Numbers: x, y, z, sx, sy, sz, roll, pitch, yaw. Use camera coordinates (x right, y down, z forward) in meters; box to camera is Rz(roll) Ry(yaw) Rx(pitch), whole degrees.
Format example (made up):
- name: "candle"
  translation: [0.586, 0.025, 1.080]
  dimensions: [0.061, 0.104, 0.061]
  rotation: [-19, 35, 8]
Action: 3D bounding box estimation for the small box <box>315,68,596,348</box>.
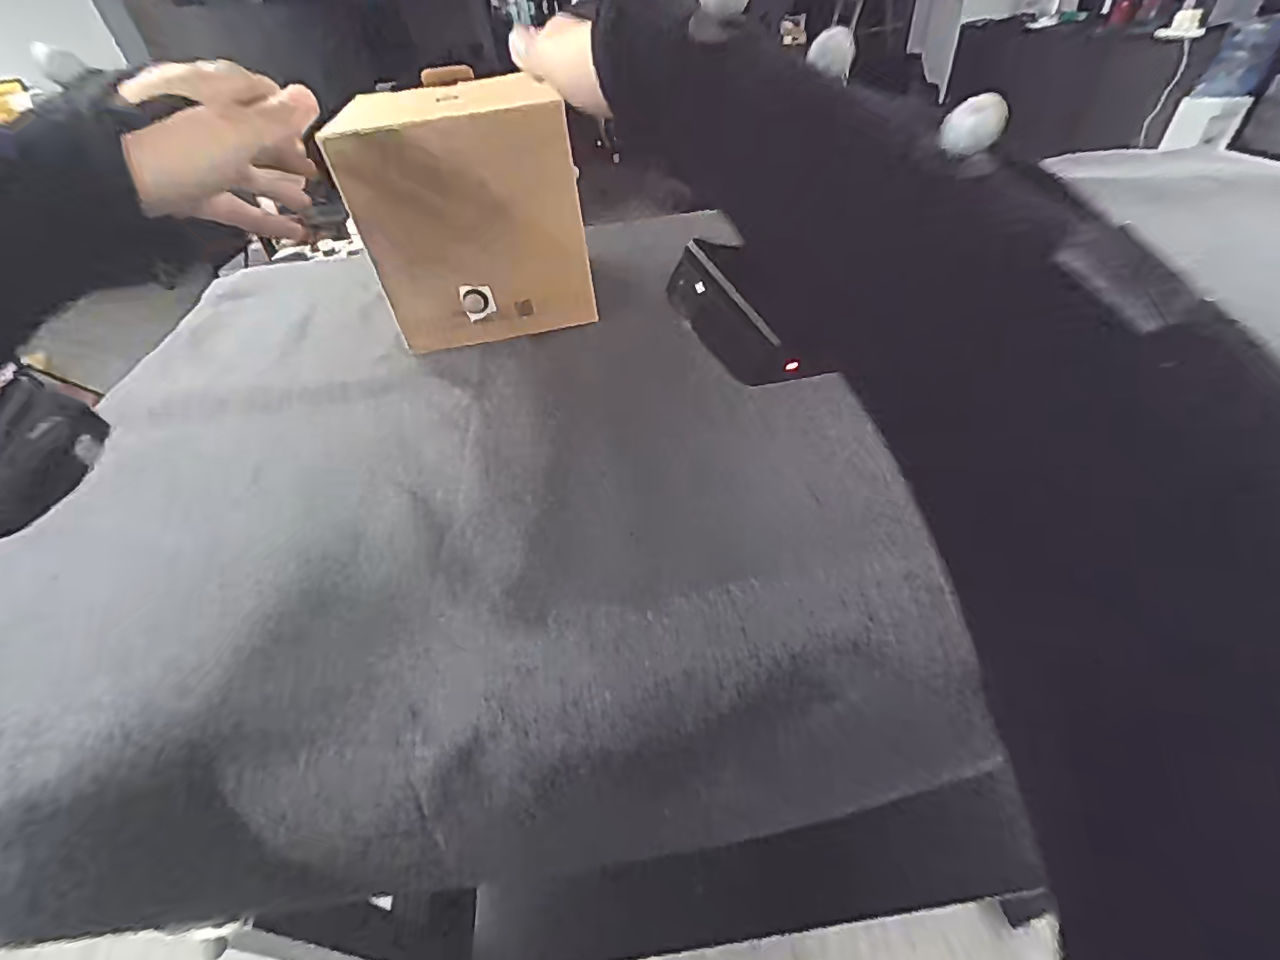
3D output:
- name: "small box"
  translation: [-0.140, -0.237, 0.469]
  dimensions: [0.168, 0.176, 0.179]
  rotation: [-13, 43, -5]
